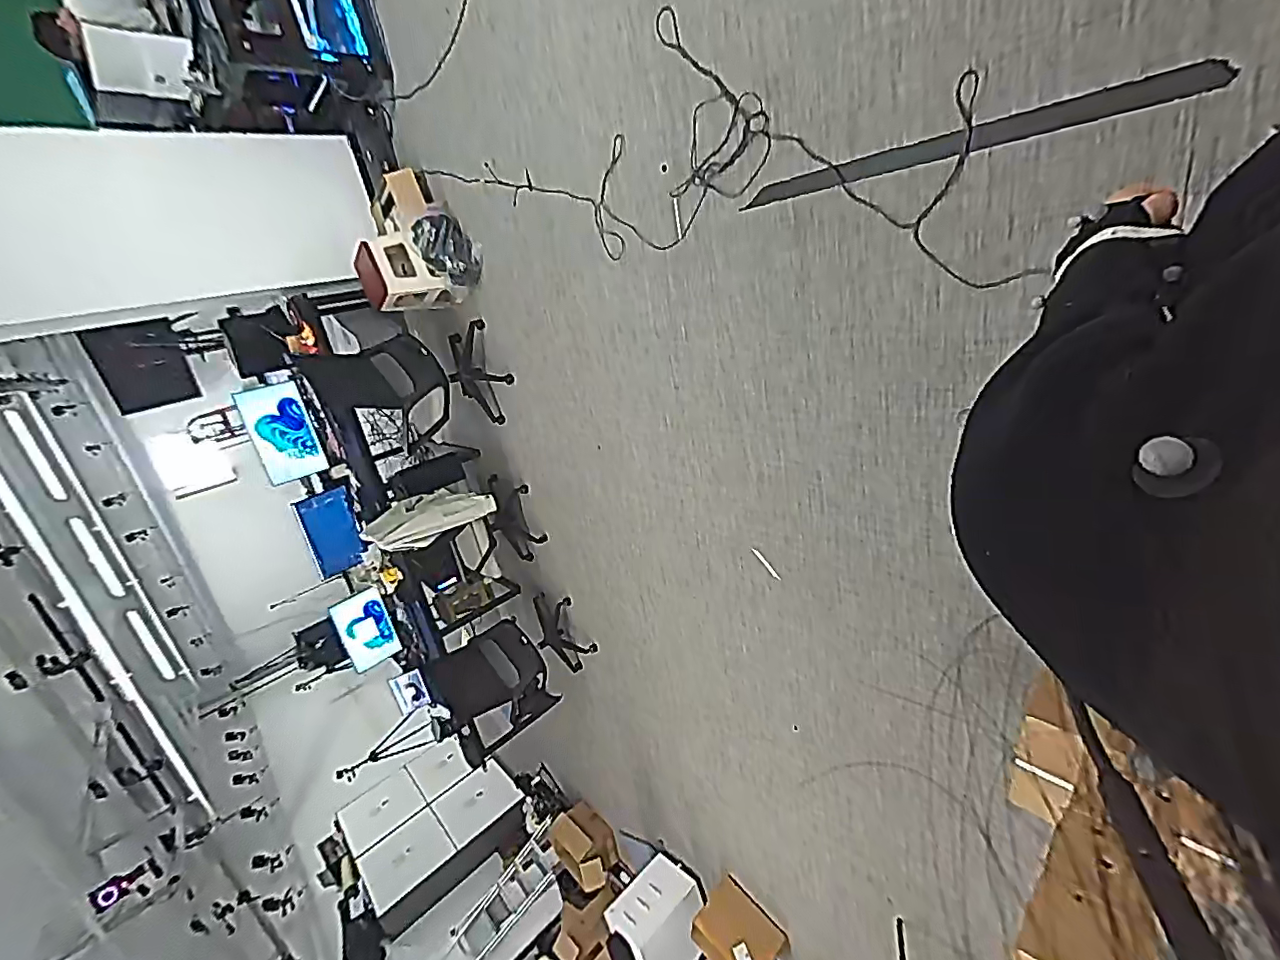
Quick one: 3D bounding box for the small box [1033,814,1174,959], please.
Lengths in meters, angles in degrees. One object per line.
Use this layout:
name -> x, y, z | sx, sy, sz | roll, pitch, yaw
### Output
small box -> 0.887, 0.797, 1.037 | 0.168, 0.176, 0.179 | 17, 123, 47

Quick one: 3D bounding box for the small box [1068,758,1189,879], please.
small box -> 1.006, 0.728, 1.128 | 0.168, 0.176, 0.179 | 20, 126, 45
